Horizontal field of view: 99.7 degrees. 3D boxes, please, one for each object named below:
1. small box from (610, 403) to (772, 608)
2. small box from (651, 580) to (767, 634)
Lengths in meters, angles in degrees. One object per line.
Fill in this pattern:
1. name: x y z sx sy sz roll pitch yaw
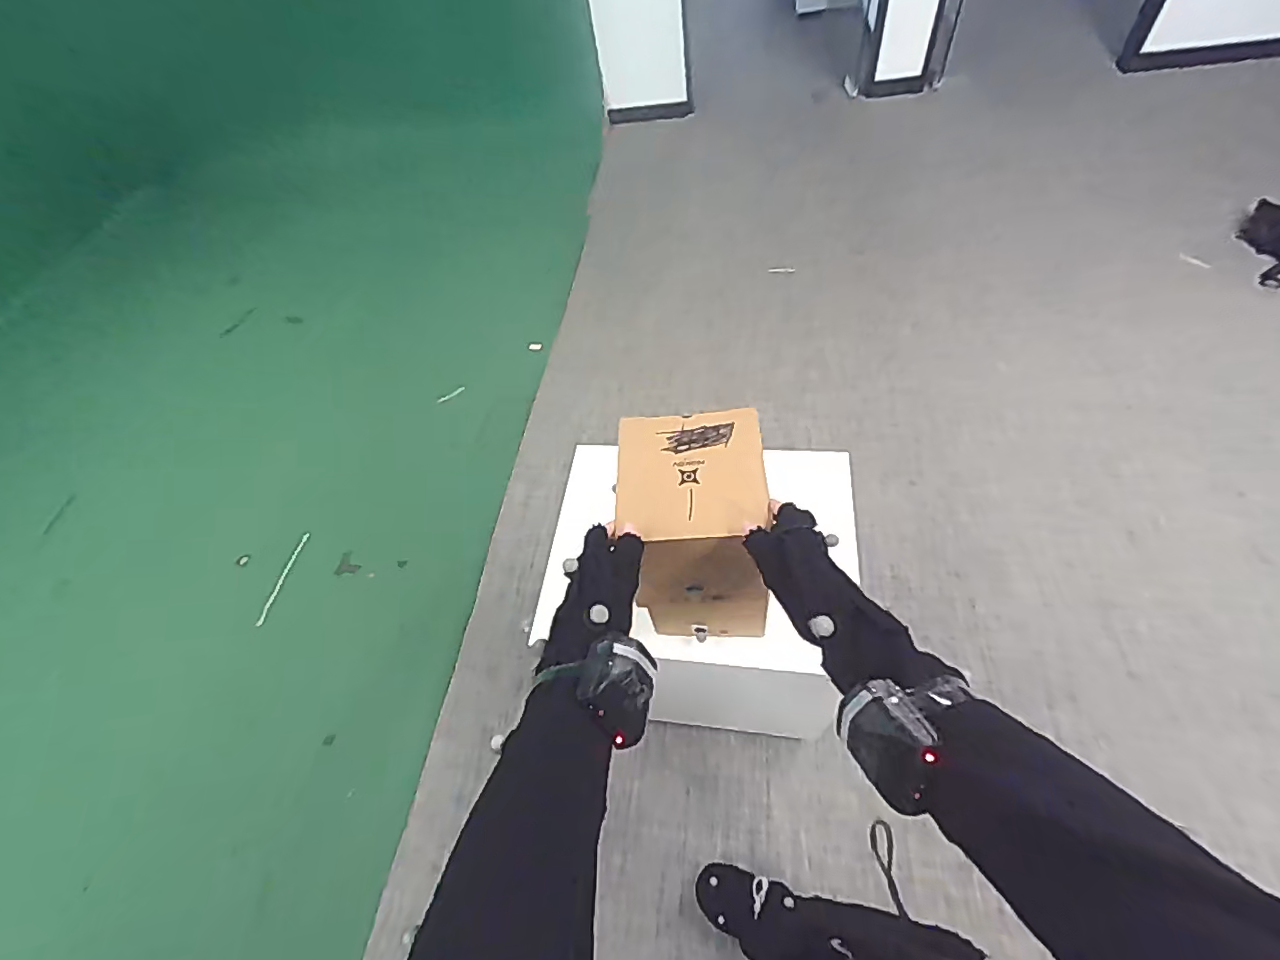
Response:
1. small box: 0.059 0.034 0.654 0.168 0.176 0.179 -7 51 5
2. small box: 0.096 0.116 0.799 0.168 0.176 0.179 -3 57 10
